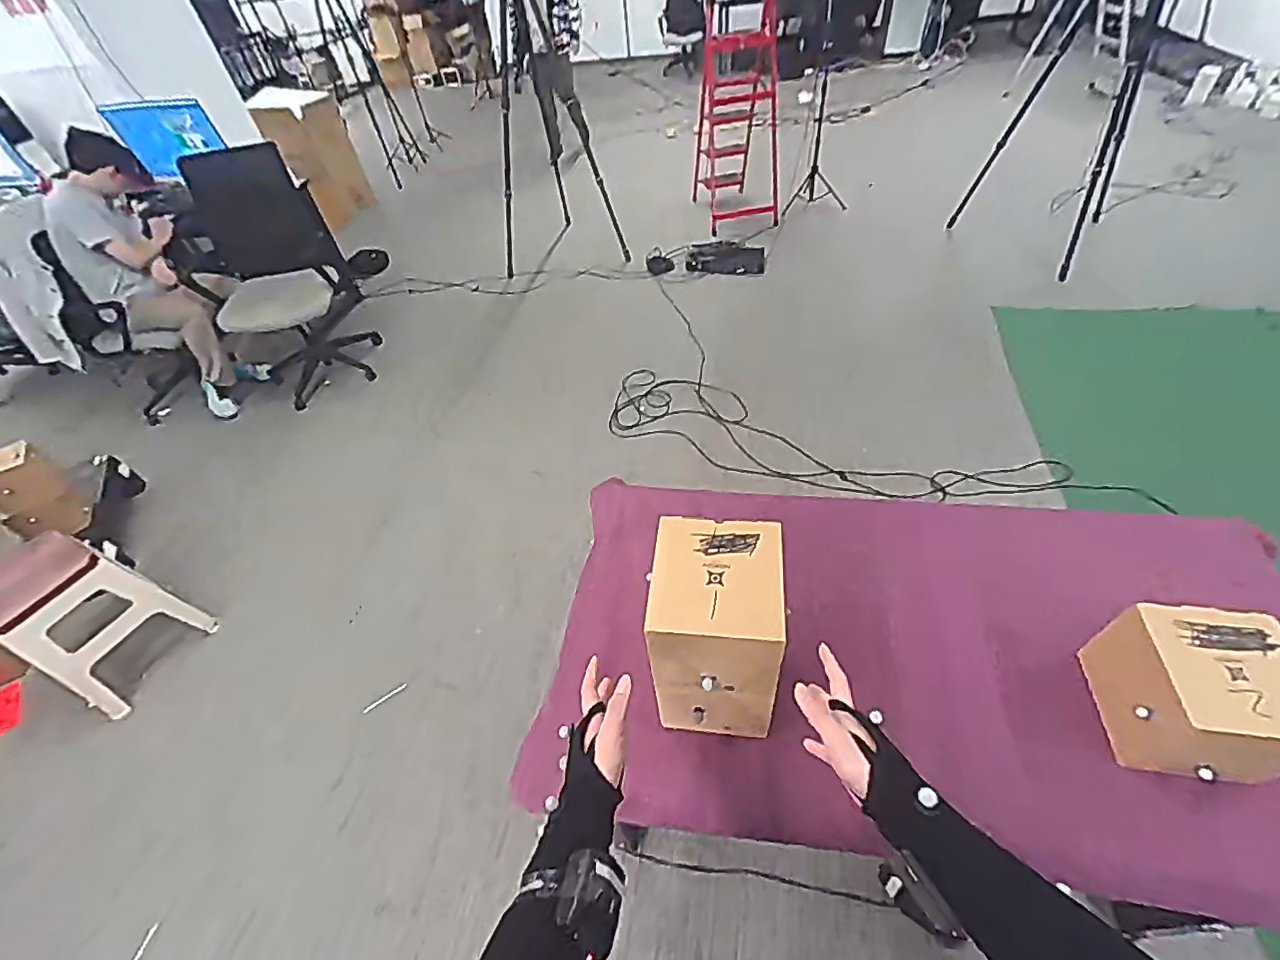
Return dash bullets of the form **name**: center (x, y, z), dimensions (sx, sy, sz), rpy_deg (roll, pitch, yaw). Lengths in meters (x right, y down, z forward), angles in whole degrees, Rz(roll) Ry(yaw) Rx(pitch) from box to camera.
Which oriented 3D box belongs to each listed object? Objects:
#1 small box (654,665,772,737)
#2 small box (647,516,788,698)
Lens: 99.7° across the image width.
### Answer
- **small box**: center (0.120, 0.286, 0.853), dimensions (0.168, 0.176, 0.179), rpy_deg (2, 46, 9)
- **small box**: center (0.106, 0.171, 0.736), dimensions (0.168, 0.176, 0.179), rpy_deg (2, 47, 10)
